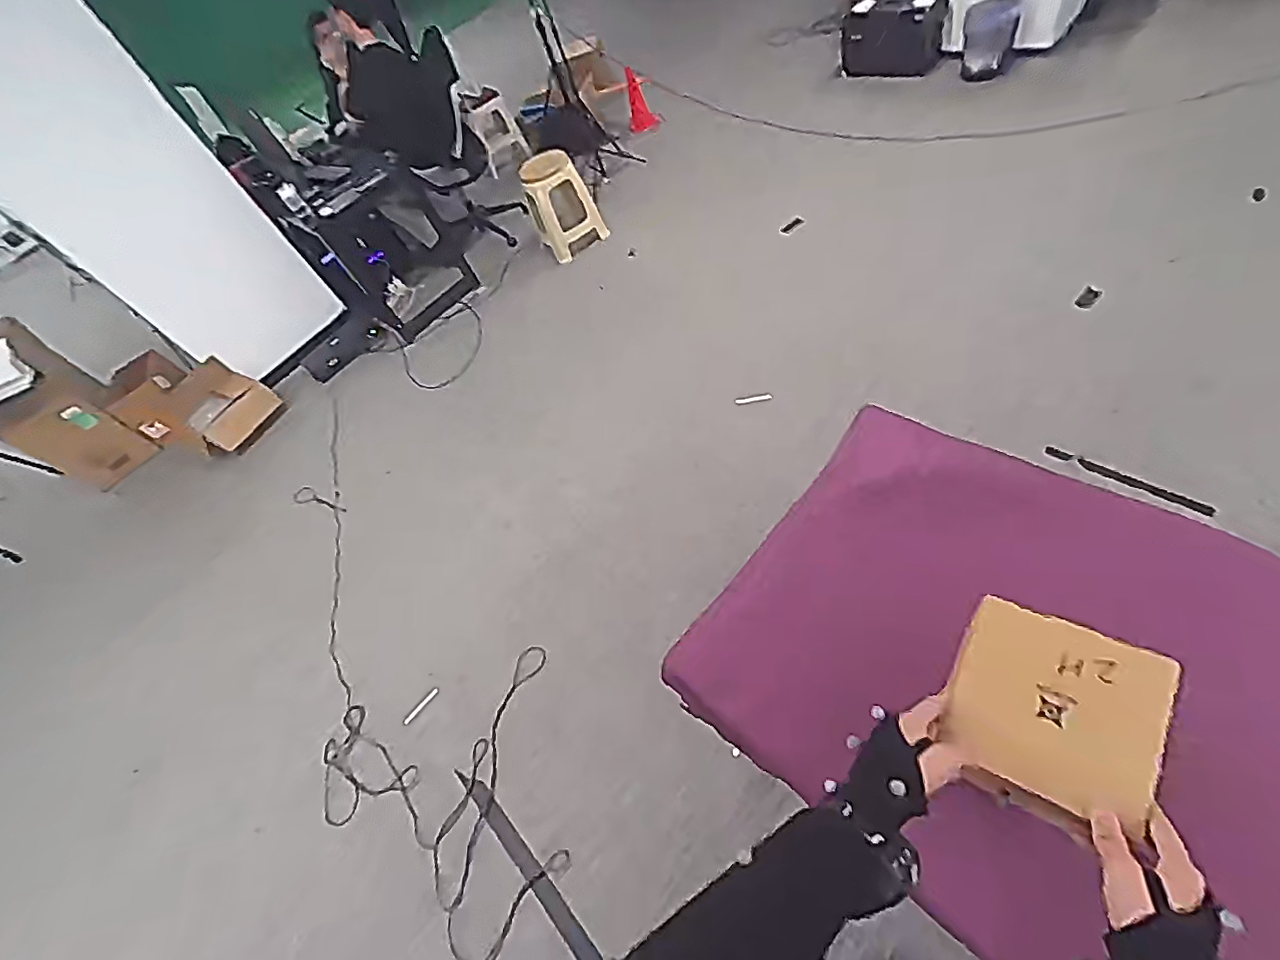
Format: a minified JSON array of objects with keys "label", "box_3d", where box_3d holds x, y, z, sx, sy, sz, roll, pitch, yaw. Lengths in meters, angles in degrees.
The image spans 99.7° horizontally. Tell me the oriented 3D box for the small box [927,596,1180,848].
[{"label":"small box","box_3d":[0.431,0.261,0.593,0.168,0.176,0.179,21,70,31]}]
